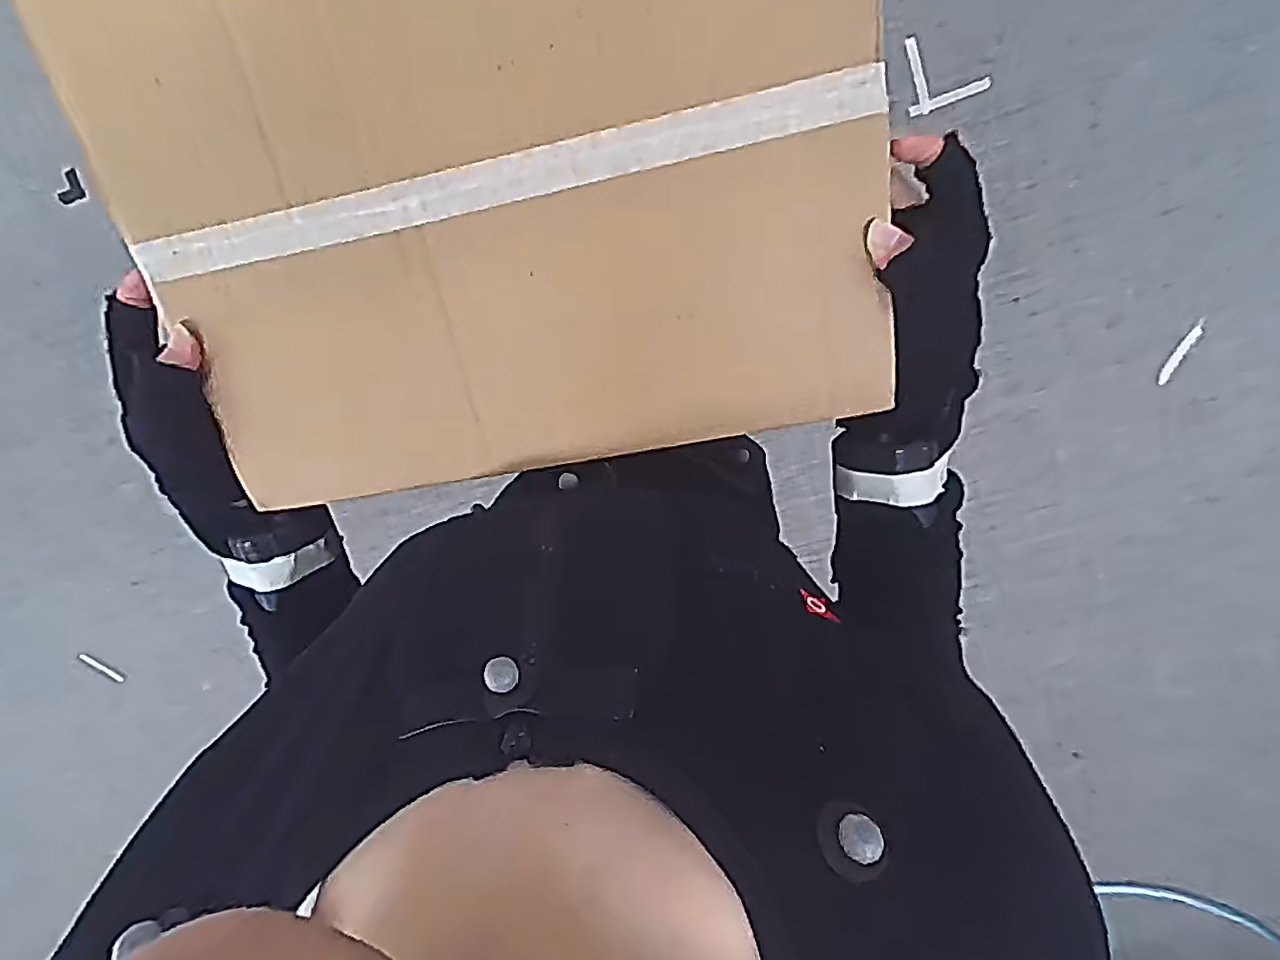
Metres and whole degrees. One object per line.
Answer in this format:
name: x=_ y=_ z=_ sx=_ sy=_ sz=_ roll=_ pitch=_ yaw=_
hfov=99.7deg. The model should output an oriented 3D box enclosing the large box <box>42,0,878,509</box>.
large box: x=-0.071 y=-0.206 z=0.431 sx=0.408 sy=0.320 sz=0.320 roll=-9 pitch=109 yaw=7
